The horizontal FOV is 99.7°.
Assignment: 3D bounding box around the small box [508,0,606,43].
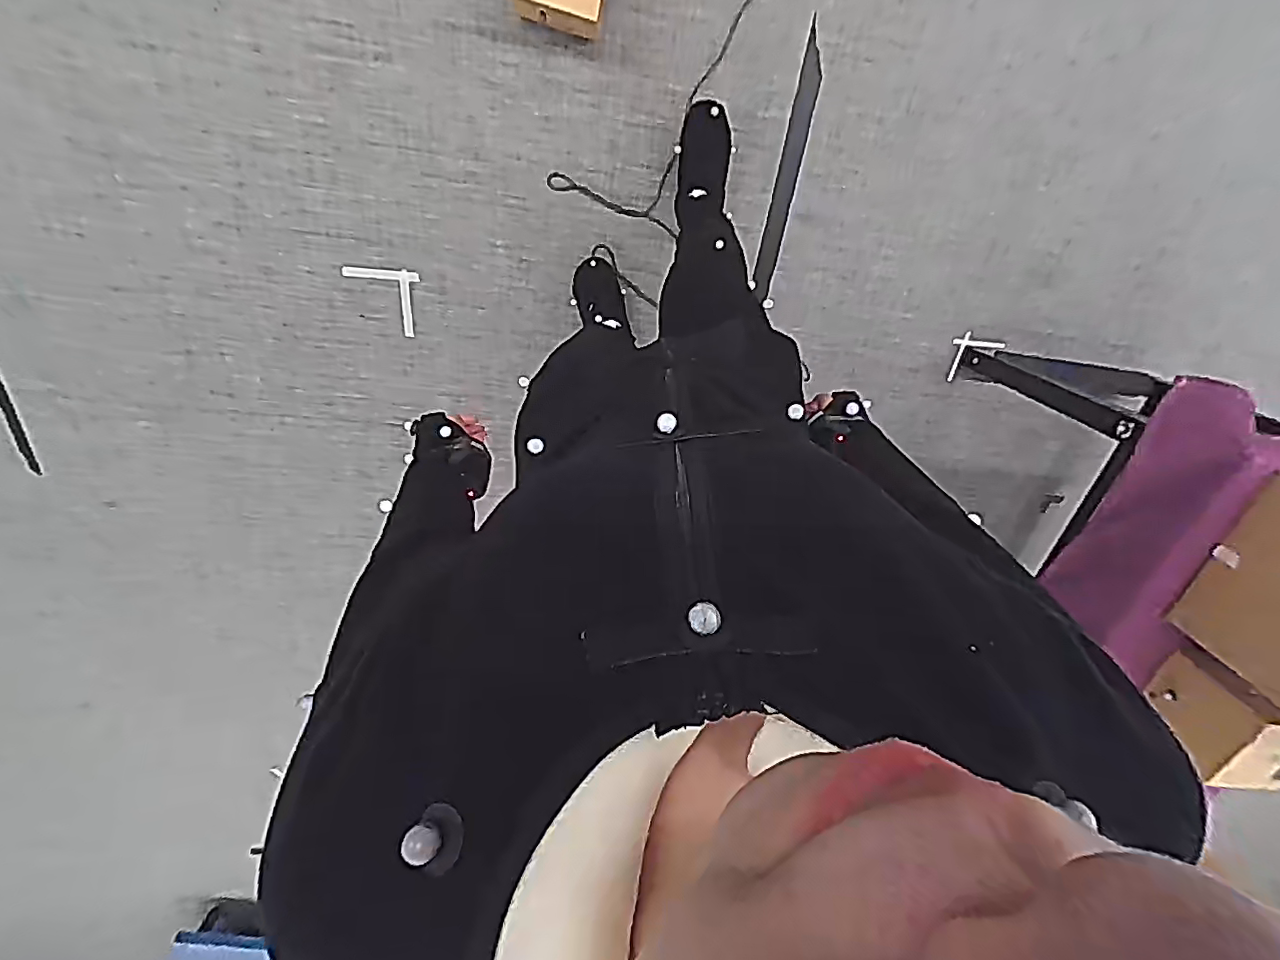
[{"bbox_3d":[-0.139,-0.940,0.986,0.168,0.176,0.179,11,117,-10],"label":"small box"}]
